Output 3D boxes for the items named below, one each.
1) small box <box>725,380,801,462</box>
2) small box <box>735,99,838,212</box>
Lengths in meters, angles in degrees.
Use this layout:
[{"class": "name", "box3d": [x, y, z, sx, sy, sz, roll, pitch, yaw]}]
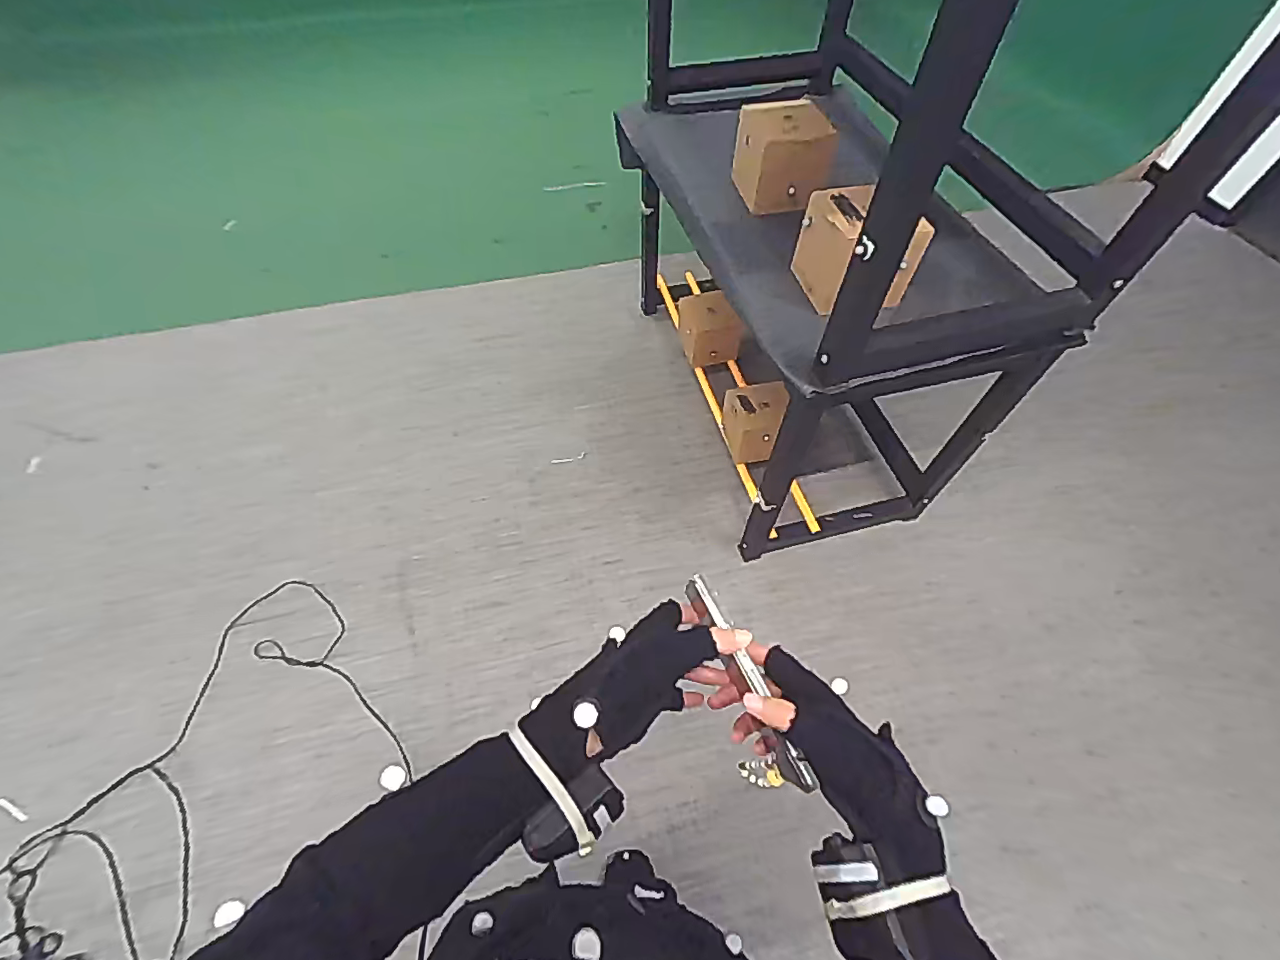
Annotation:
[{"class": "small box", "box3d": [0.359, -0.172, 1.624, 0.179, 0.176, 0.168, -10, 57, -6]}, {"class": "small box", "box3d": [0.332, -0.758, 1.265, 0.168, 0.176, 0.179, -10, 57, -6]}]
